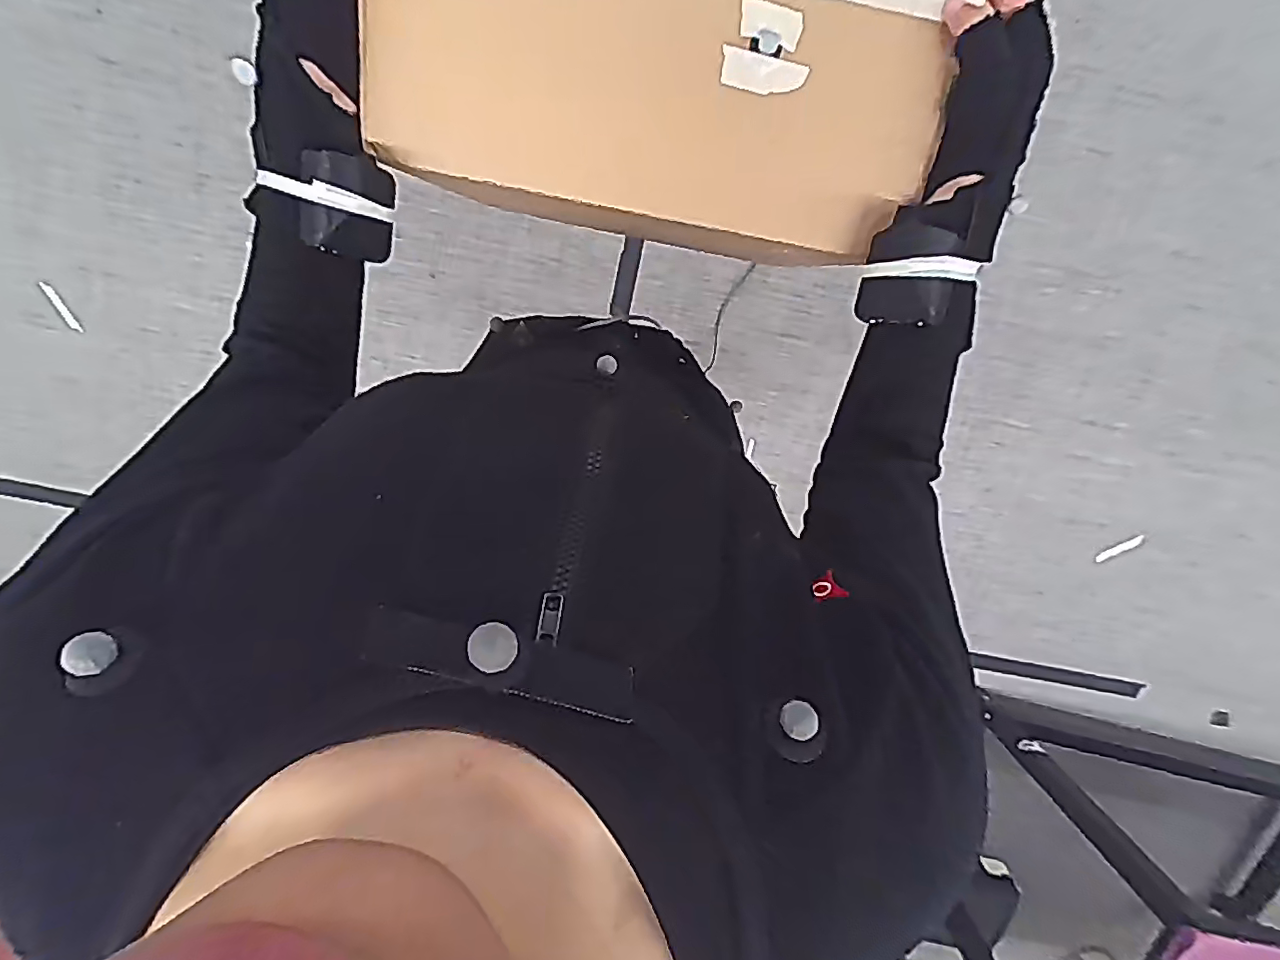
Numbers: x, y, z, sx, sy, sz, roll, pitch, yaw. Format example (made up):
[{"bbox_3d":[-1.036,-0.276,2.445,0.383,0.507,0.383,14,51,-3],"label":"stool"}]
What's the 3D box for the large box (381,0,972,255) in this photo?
[{"bbox_3d":[0.026,-0.405,0.494,0.408,0.320,0.320,9,112,-5],"label":"large box"}]
